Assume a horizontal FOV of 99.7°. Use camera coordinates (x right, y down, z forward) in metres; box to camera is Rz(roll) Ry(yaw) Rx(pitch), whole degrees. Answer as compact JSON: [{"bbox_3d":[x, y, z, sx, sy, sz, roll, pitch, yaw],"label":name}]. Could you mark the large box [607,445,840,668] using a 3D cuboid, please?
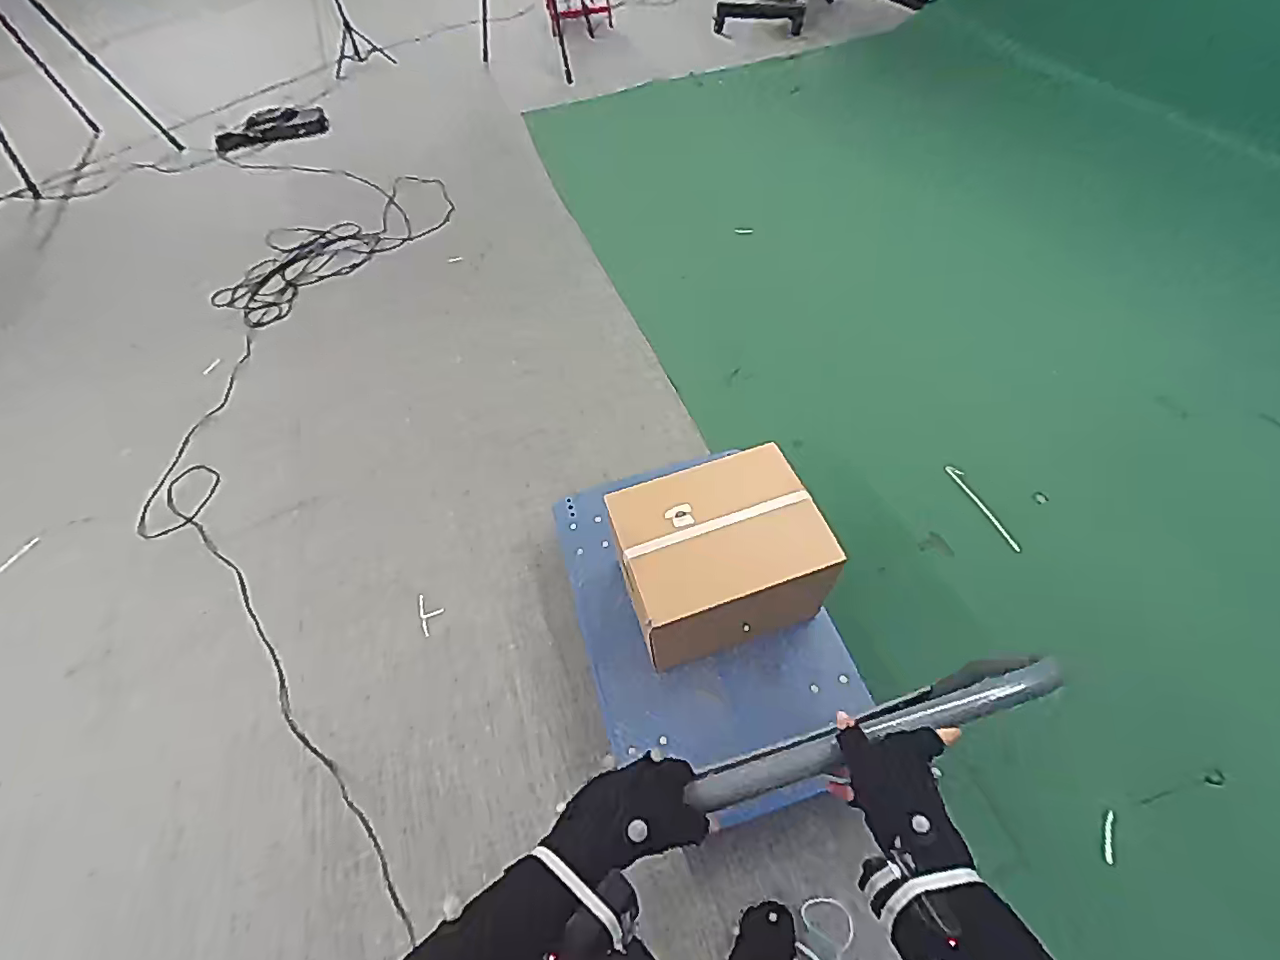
[{"bbox_3d":[0.175,0.182,1.243,0.408,0.320,0.320,-19,56,-6],"label":"large box"}]
